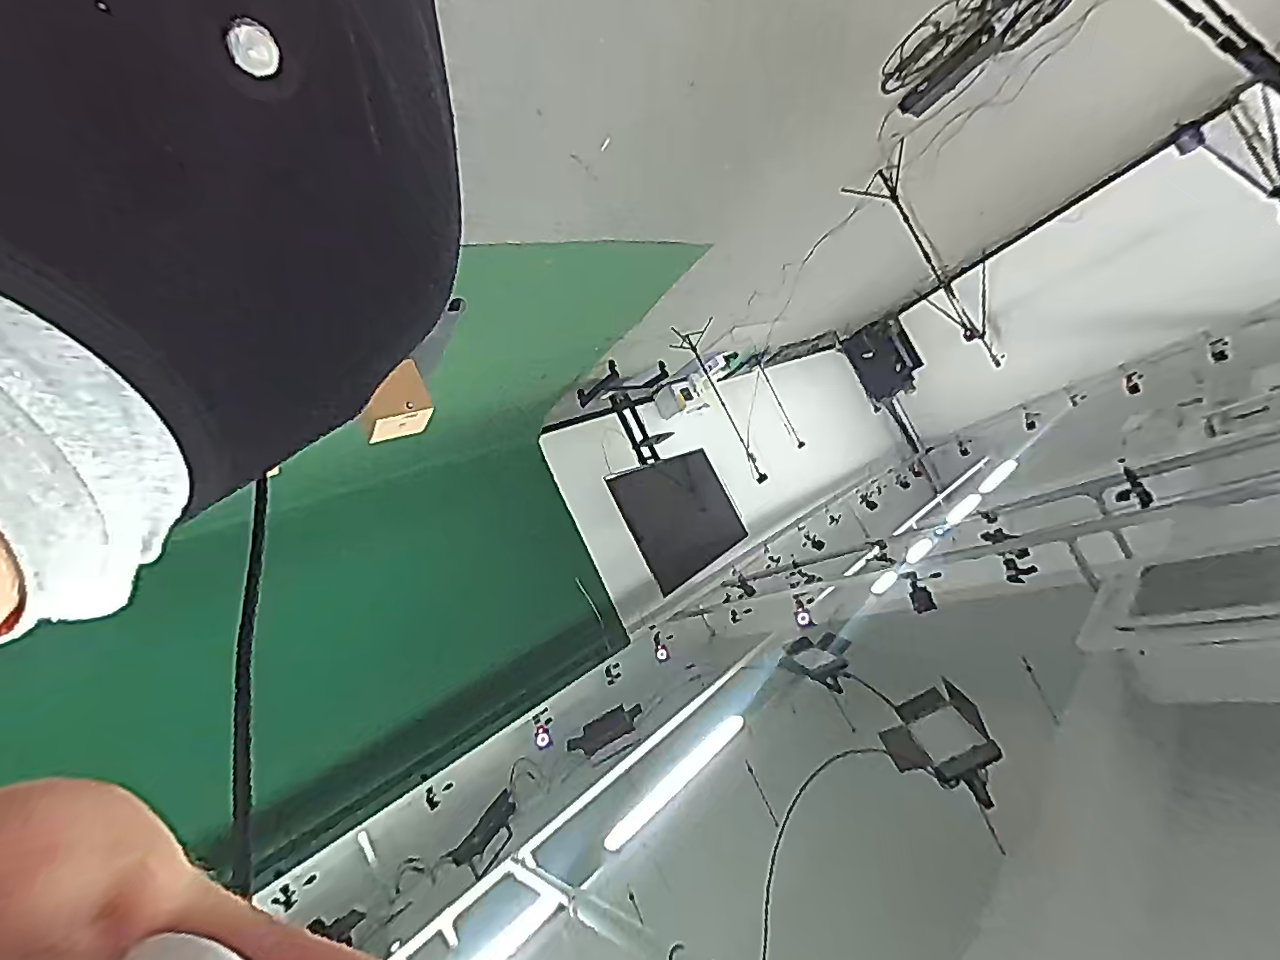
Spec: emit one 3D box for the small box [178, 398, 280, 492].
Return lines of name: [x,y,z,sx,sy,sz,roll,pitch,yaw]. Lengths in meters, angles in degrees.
small box: [-1.073,-0.094,1.421,0.168,0.176,0.179,-25,175,-37]

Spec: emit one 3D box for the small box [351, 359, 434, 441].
small box: [-0.744,-0.239,1.614,0.168,0.176,0.179,-24,177,-37]
